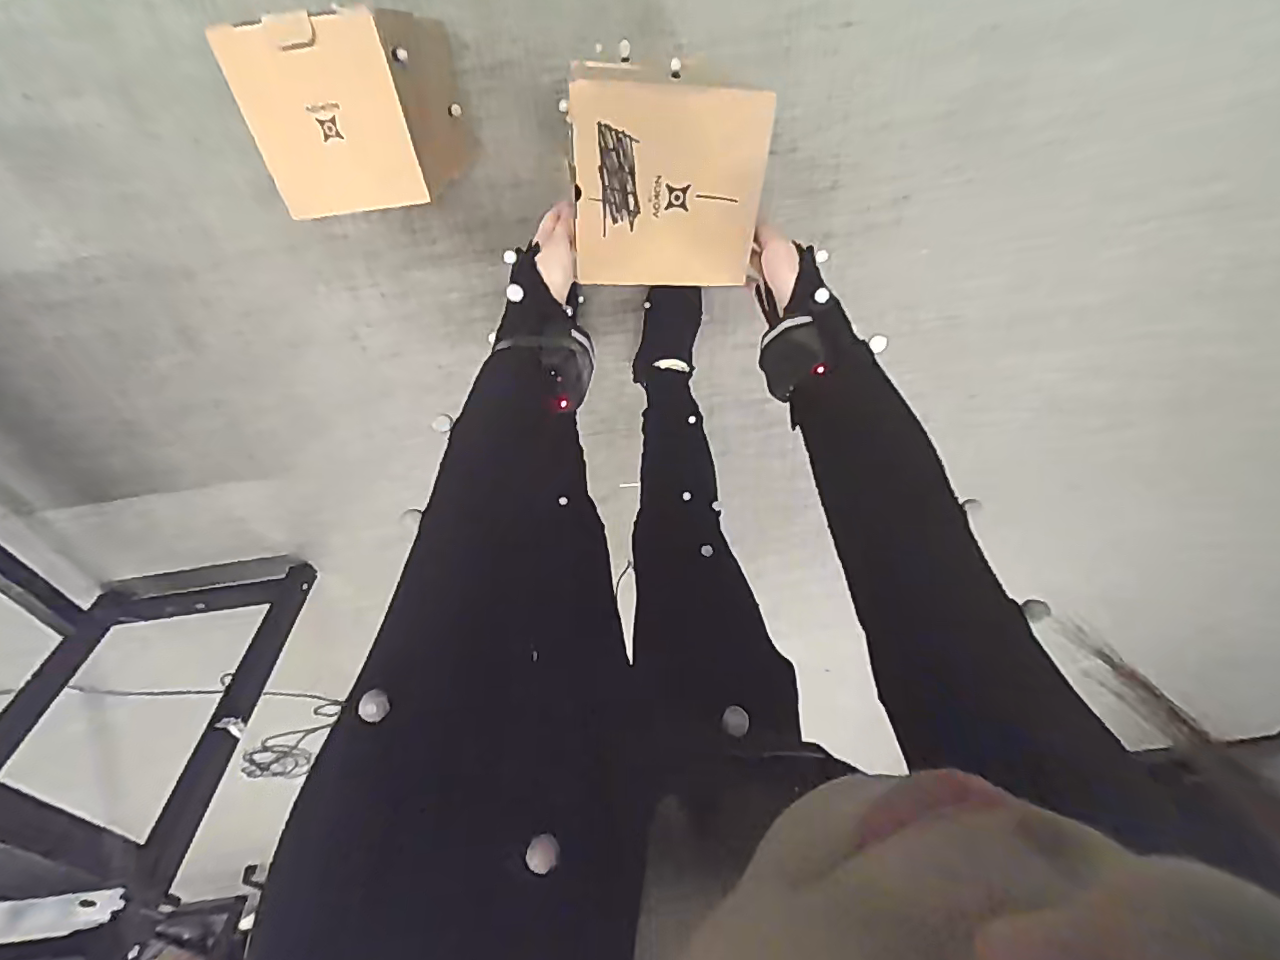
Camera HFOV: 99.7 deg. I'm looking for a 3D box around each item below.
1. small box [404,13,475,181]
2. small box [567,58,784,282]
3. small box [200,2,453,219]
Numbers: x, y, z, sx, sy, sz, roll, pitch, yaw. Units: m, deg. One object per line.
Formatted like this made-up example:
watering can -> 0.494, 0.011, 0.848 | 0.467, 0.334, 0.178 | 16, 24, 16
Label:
small box -> -0.344, -0.525, 0.753 | 0.168, 0.176, 0.179 | -9, 131, 2
small box -> 0.020, -0.311, 0.540 | 0.179, 0.176, 0.168 | -1, 131, -6
small box -> -0.333, -0.425, 0.625 | 0.168, 0.176, 0.179 | -8, 129, 1
